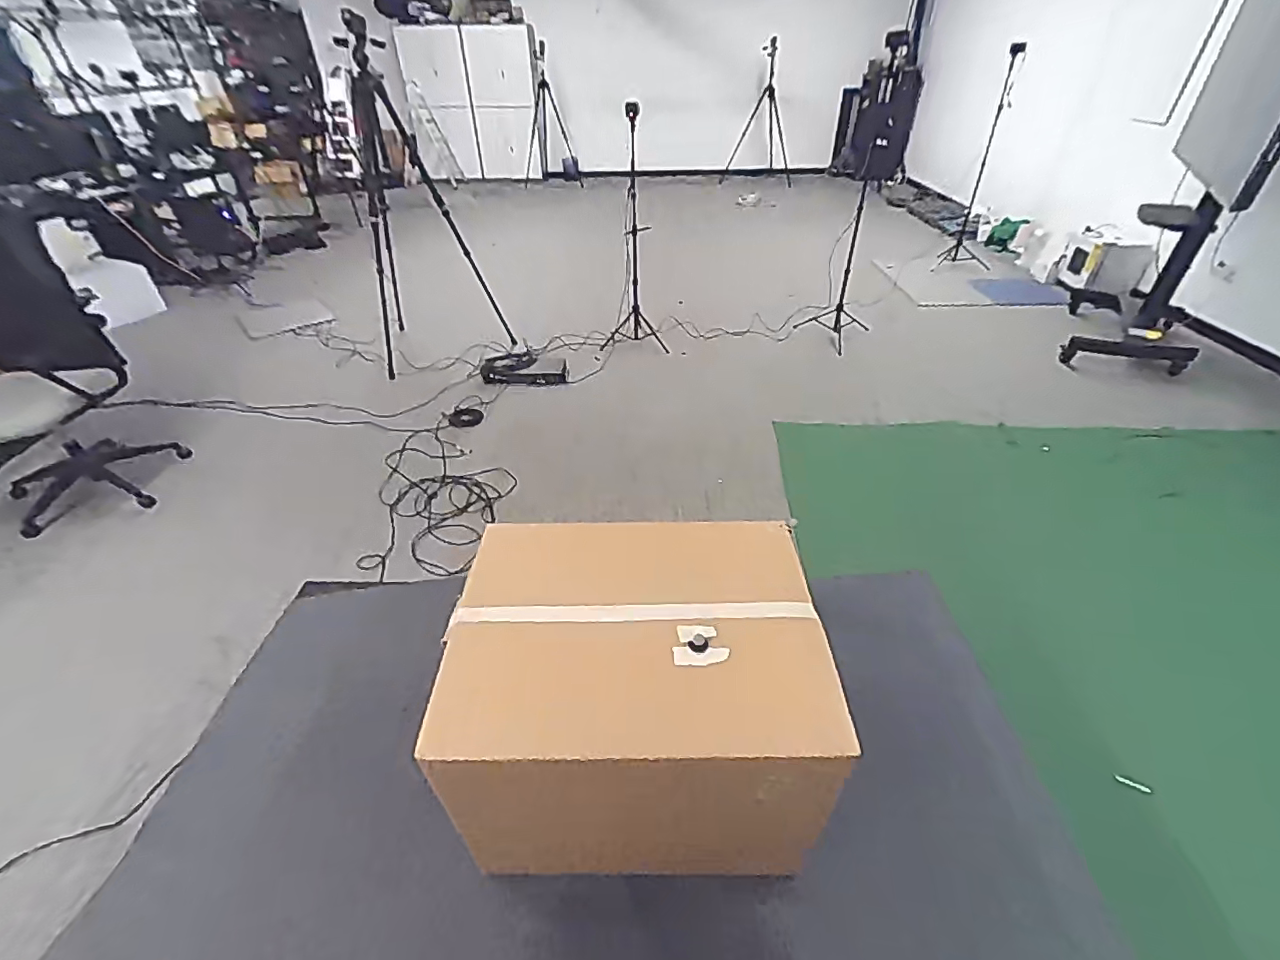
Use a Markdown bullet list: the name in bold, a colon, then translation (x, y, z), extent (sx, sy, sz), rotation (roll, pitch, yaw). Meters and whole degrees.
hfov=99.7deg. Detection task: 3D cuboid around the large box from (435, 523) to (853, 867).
- **large box**: translation (0.001, 0.274, 0.711), extent (0.408, 0.320, 0.320), rotation (-1, 39, 0)
